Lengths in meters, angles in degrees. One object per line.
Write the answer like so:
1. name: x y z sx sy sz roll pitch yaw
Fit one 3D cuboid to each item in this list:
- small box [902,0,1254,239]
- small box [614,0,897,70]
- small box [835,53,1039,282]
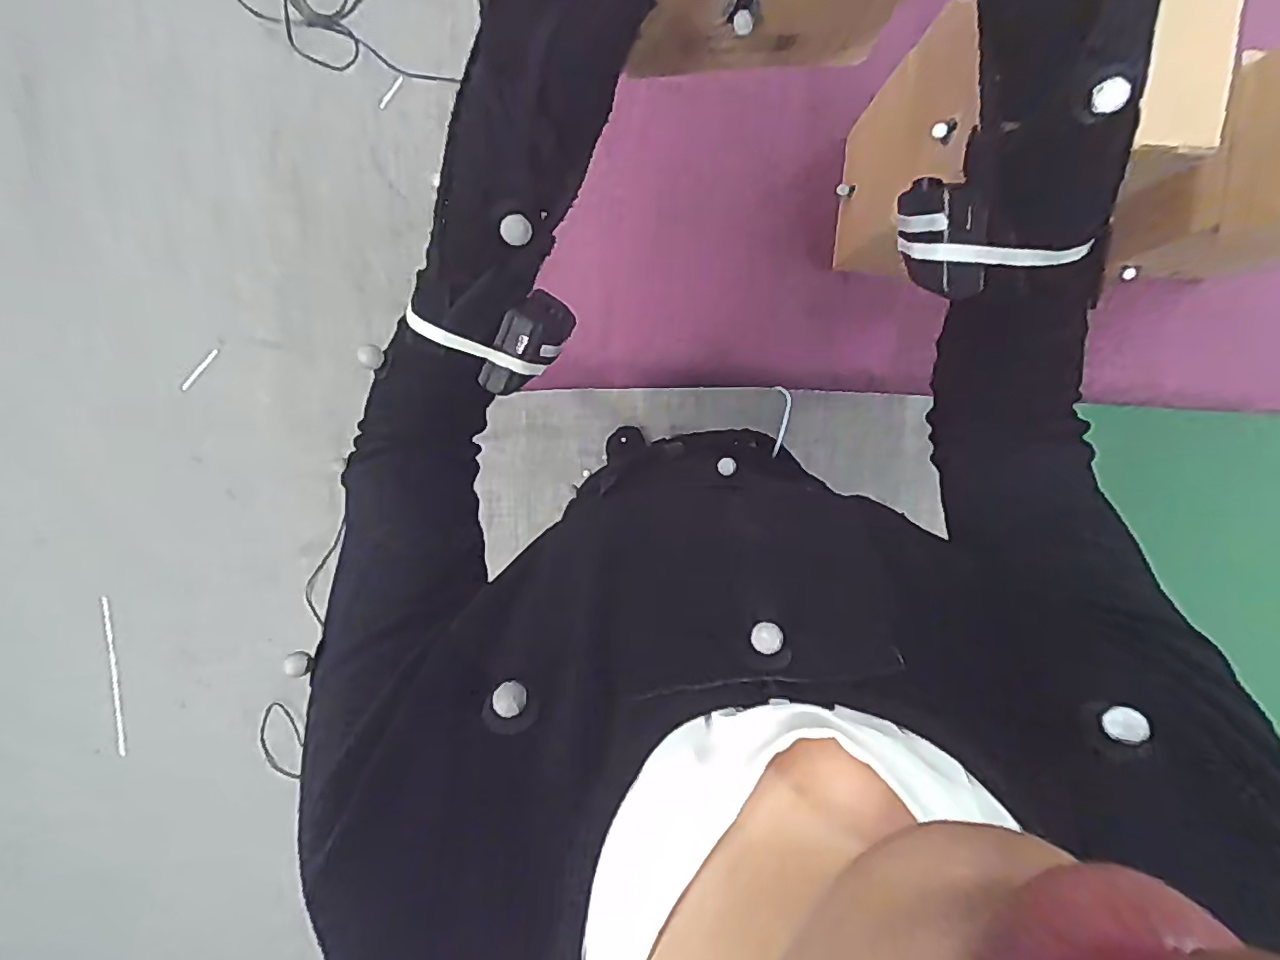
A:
1. small box: 0.354 -0.329 0.472 0.168 0.176 0.179 5 96 -2
2. small box: 0.064 -0.347 0.264 0.168 0.176 0.179 -5 99 -2
3. small box: 0.345 -0.345 0.634 0.168 0.176 0.179 6 96 -2
